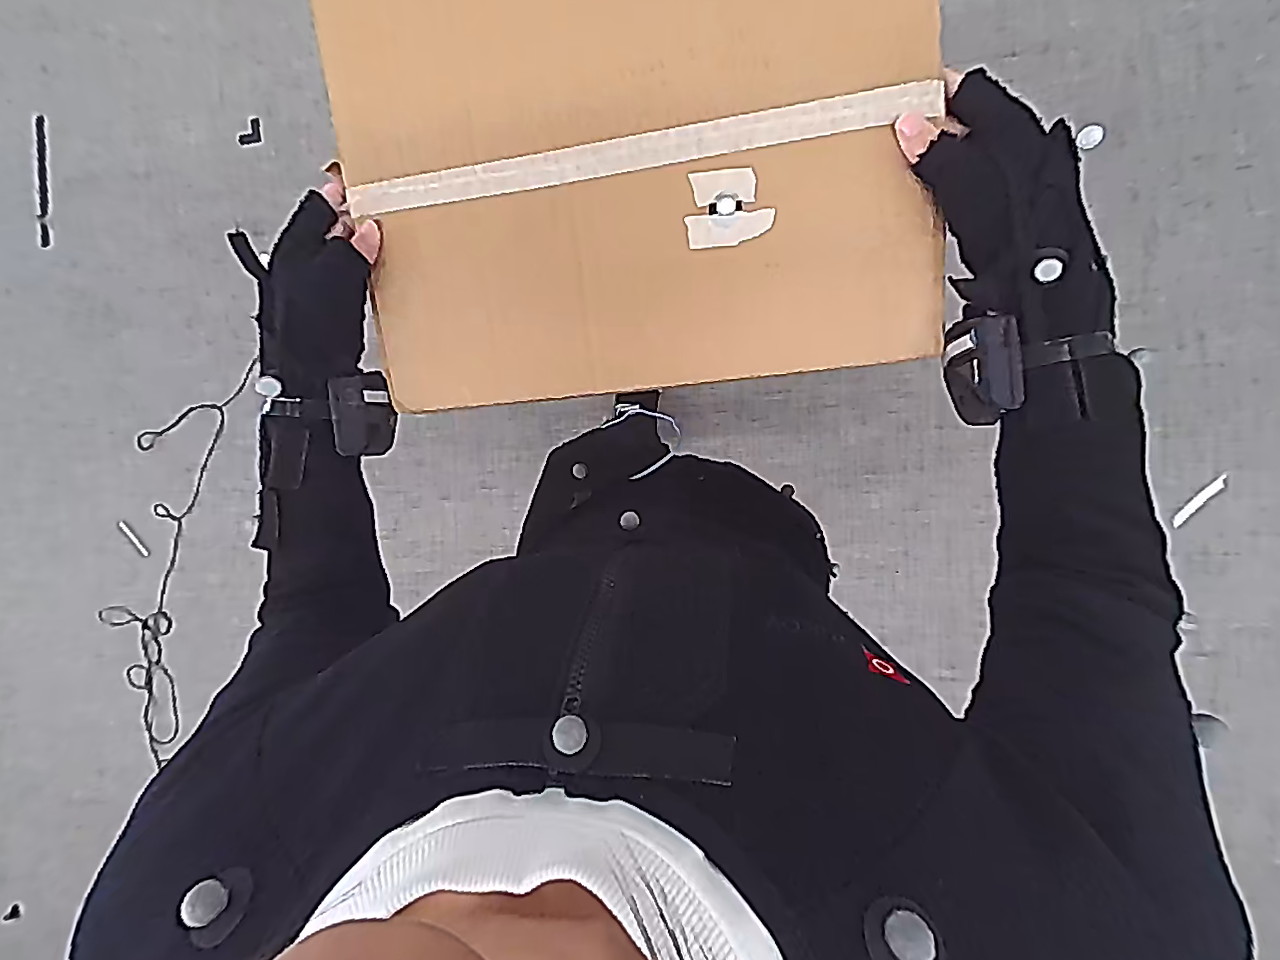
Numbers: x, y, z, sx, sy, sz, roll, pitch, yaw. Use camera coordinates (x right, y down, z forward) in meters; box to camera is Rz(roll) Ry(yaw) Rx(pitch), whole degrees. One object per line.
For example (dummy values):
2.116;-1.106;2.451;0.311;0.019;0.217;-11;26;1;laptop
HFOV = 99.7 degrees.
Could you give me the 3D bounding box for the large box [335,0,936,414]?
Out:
0.011;-0.251;0.526;0.408;0.320;0.320;-6;101;8;large box
